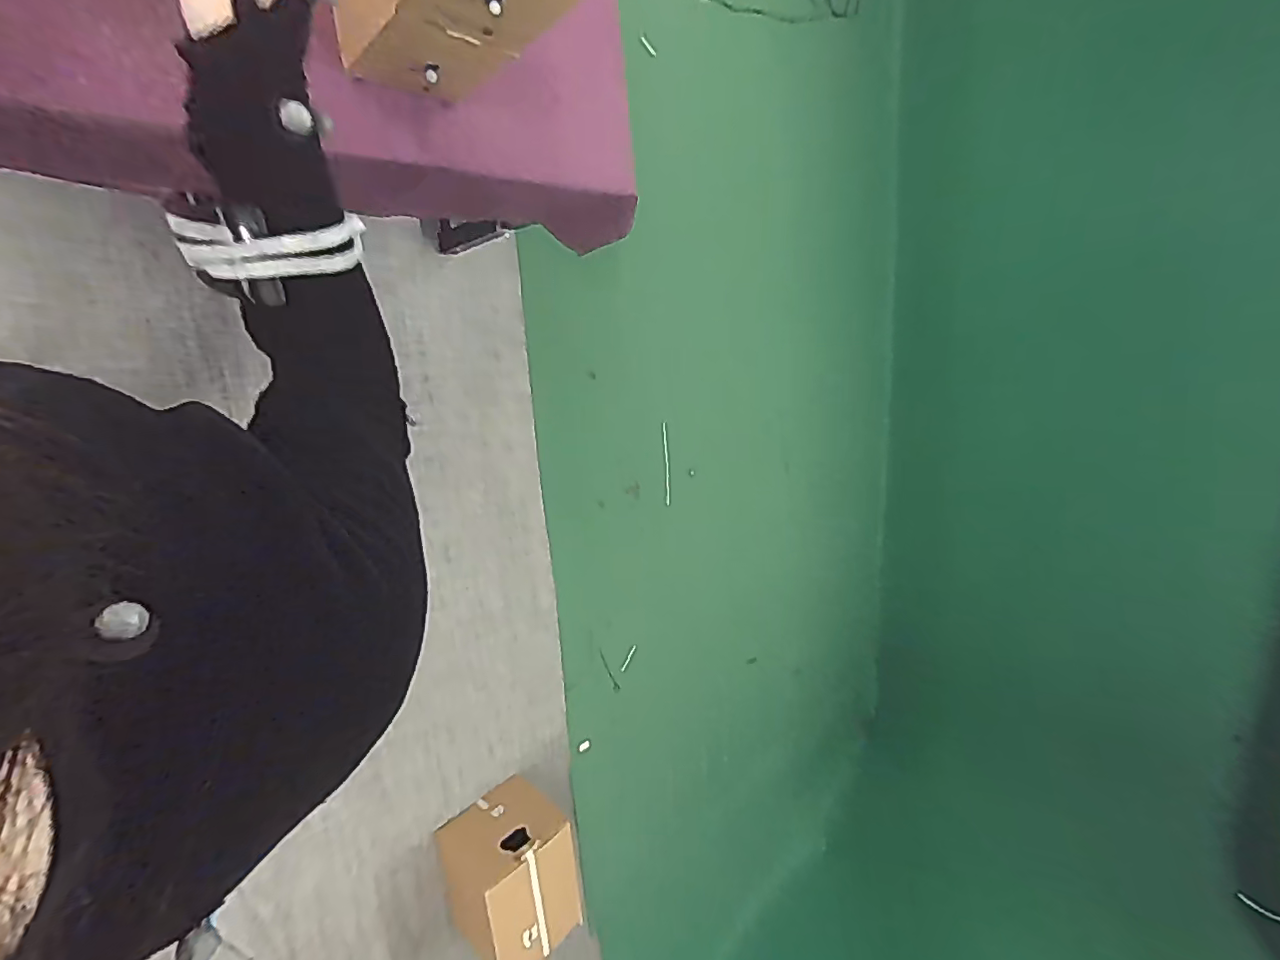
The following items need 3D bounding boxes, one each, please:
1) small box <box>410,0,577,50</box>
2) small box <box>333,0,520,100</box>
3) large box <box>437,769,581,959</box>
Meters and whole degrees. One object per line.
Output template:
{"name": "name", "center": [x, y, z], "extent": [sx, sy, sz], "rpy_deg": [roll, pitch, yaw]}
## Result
{"name": "small box", "center": [-0.159, -0.601, 0.567], "extent": [0.168, 0.176, 0.179], "rpy_deg": [-19, 109, -43]}
{"name": "small box", "center": [-0.275, -0.620, 0.683], "extent": [0.168, 0.176, 0.179], "rpy_deg": [-19, 110, -43]}
{"name": "large box", "center": [-0.429, 1.276, 1.789], "extent": [0.320, 0.320, 0.408], "rpy_deg": [-18, 111, -44]}
